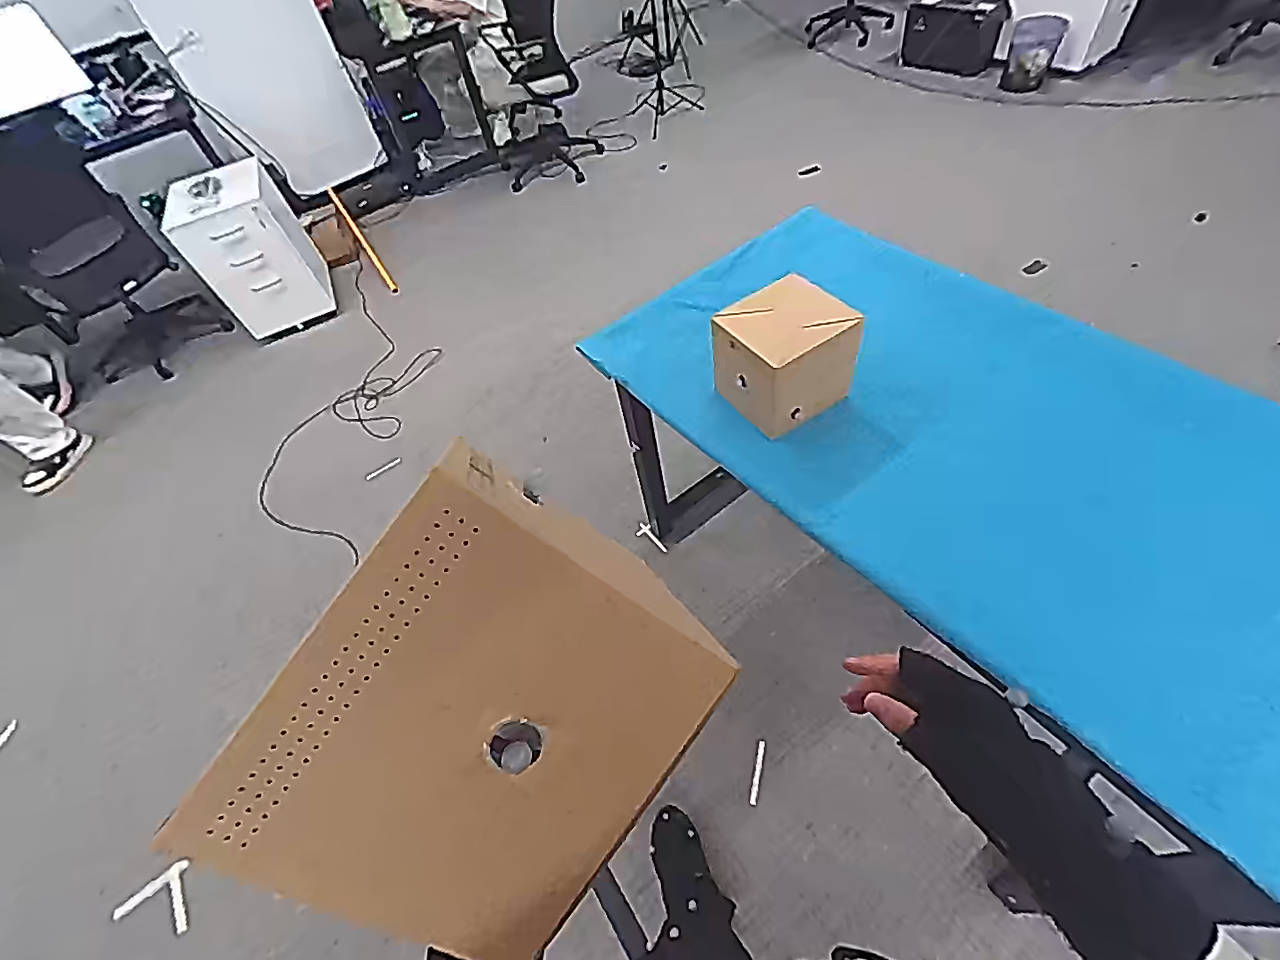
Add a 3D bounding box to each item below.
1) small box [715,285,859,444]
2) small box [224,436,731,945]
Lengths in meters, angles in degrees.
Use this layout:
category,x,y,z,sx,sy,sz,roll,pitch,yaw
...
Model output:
category,x,y,z,sx,sy,sz,roll,pitch,yaw
small box,0.242,-0.201,0.921,0.179,0.176,0.168,-31,54,-13
small box,-0.089,0.095,0.310,0.179,0.176,0.168,-55,18,-2
